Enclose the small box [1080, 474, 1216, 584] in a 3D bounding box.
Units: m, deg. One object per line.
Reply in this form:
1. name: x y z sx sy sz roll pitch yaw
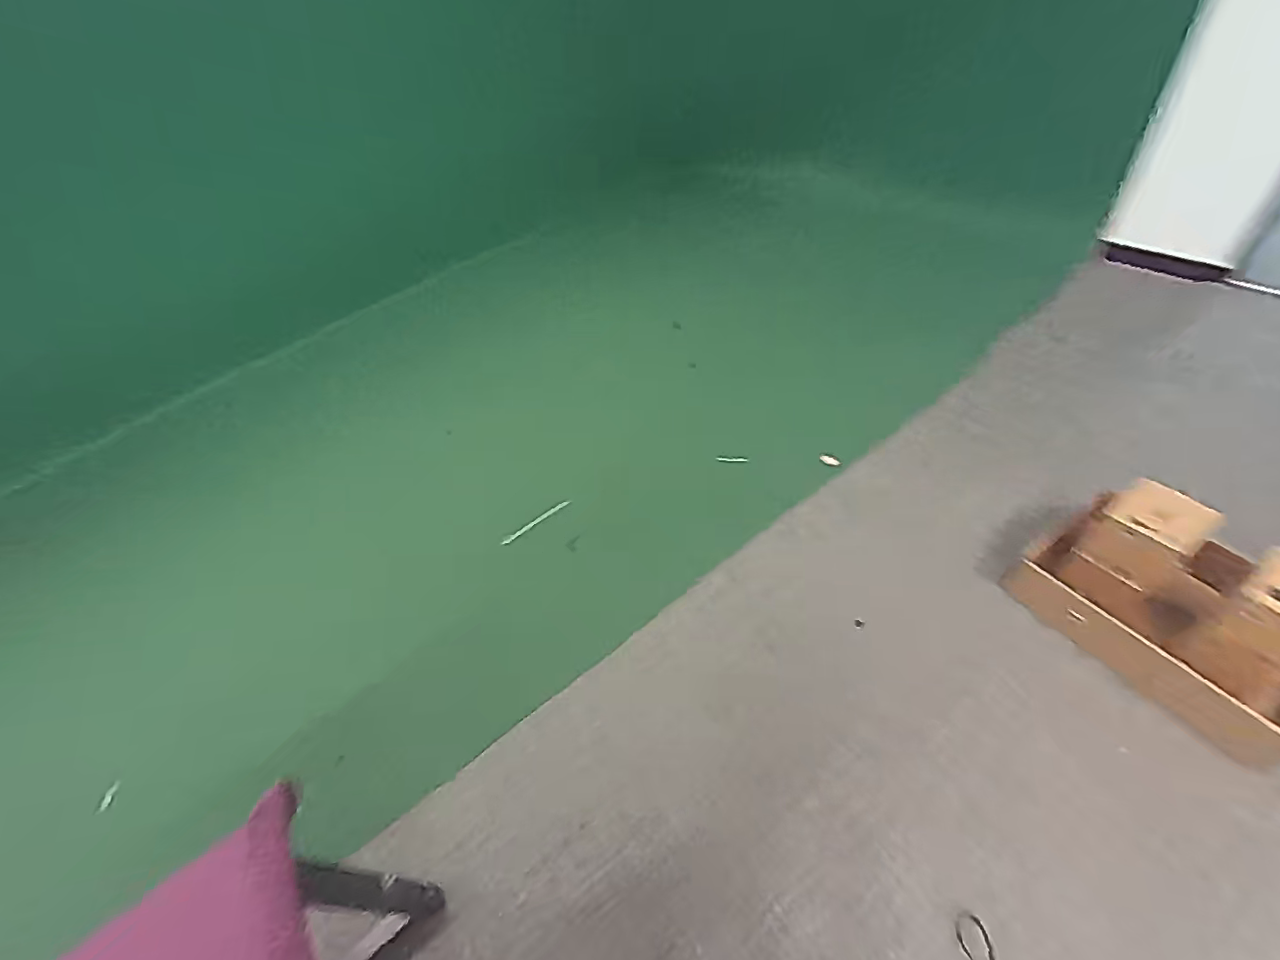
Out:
1. small box: 1.262 0.124 1.359 0.179 0.176 0.168 -33 49 -17
